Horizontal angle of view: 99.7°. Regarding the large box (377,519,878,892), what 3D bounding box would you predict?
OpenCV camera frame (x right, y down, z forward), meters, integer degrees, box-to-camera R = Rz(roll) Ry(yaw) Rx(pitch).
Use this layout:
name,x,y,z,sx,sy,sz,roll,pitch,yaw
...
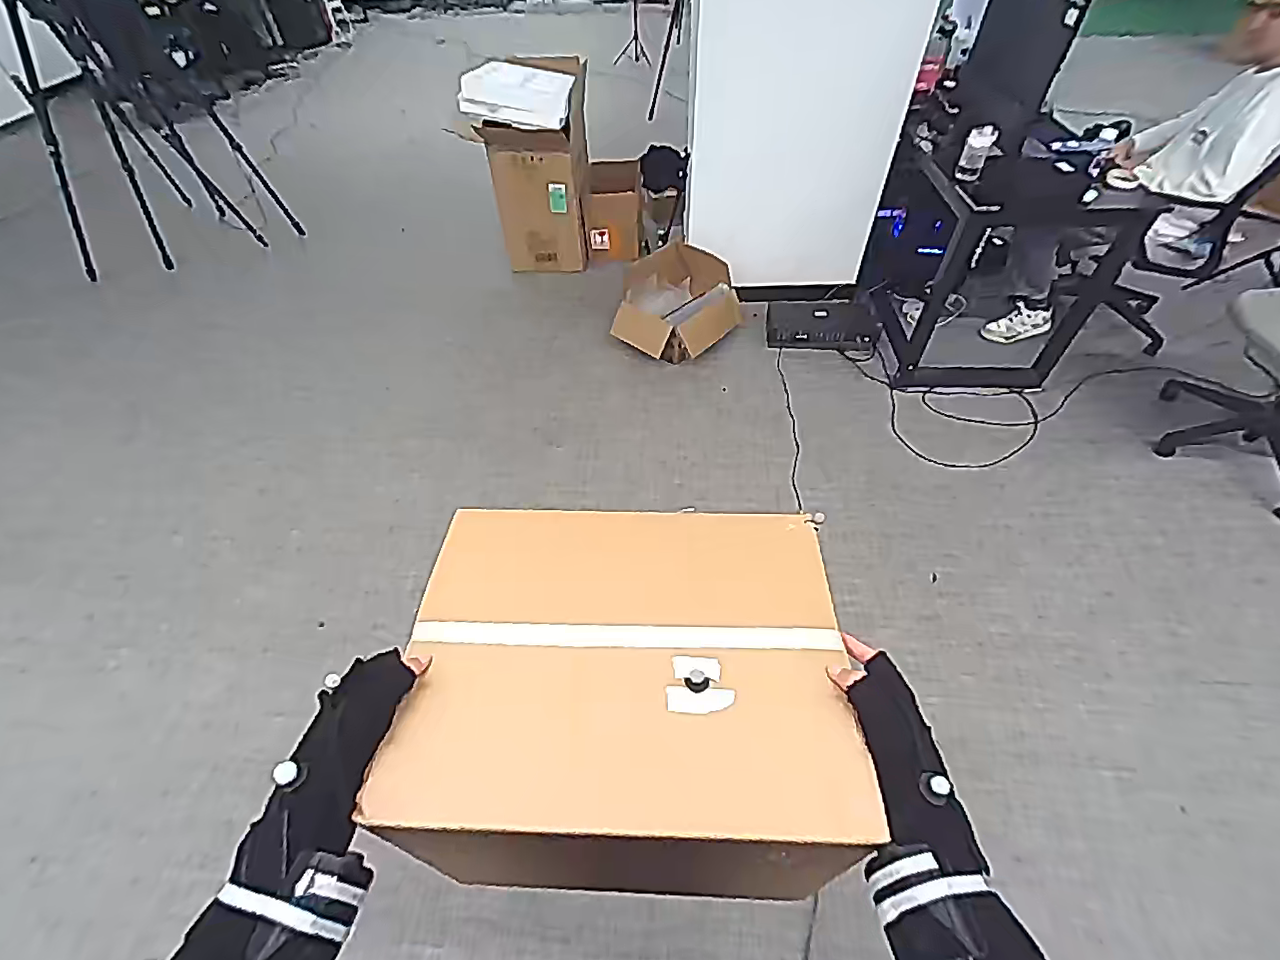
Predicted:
name,x,y,z,sx,sy,sz,roll,pitch,yaw
large box,-0.008,0.261,0.630,0.408,0.320,0.320,1,46,2
